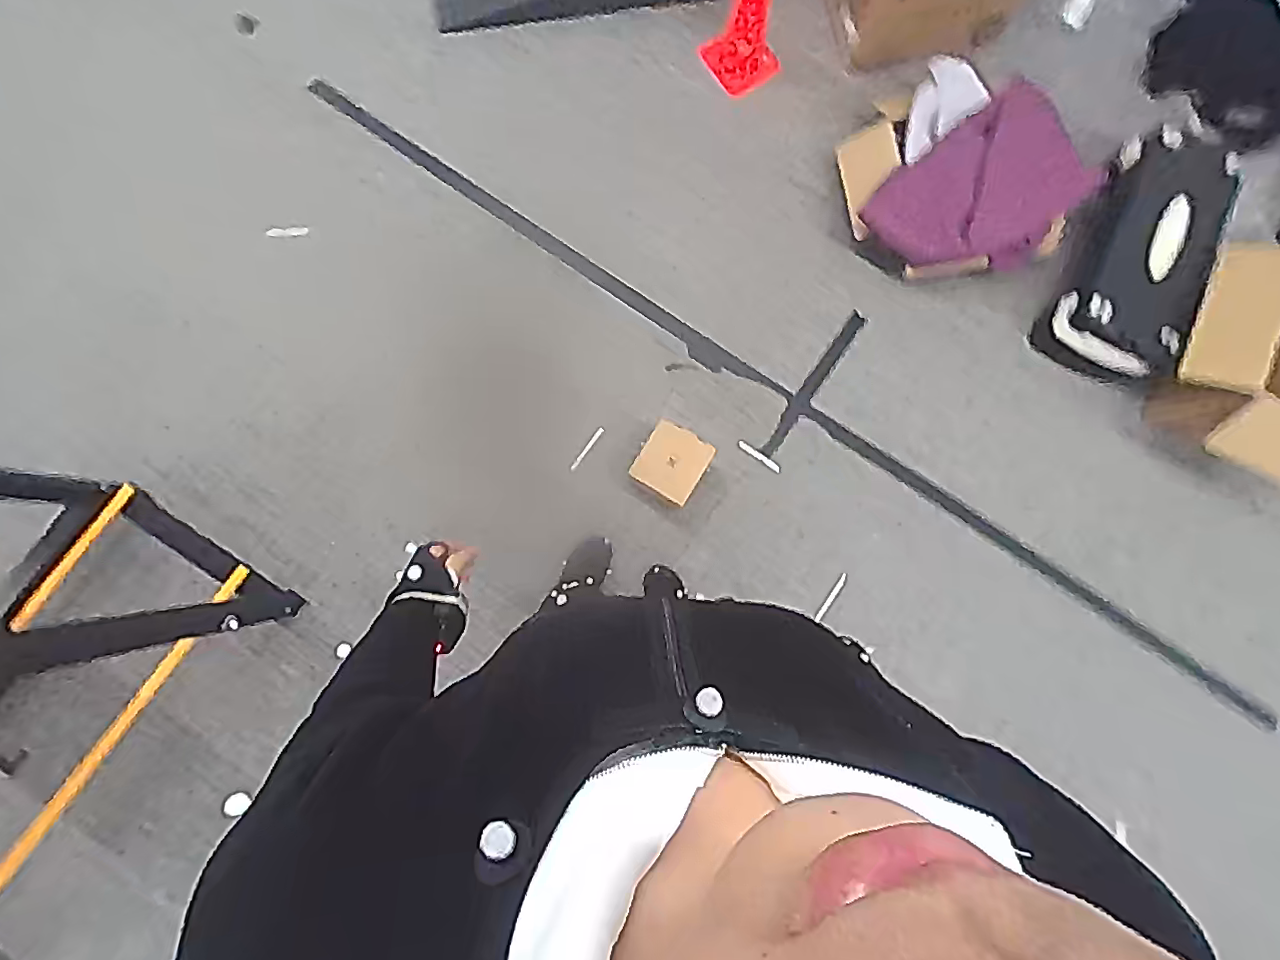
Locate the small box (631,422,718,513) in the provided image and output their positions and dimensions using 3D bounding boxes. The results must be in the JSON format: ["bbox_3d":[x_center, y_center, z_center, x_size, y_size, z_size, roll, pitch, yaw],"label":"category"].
[{"bbox_3d":[0.087,-0.027,1.454,0.168,0.176,0.179,31,84,3],"label":"small box"}]
